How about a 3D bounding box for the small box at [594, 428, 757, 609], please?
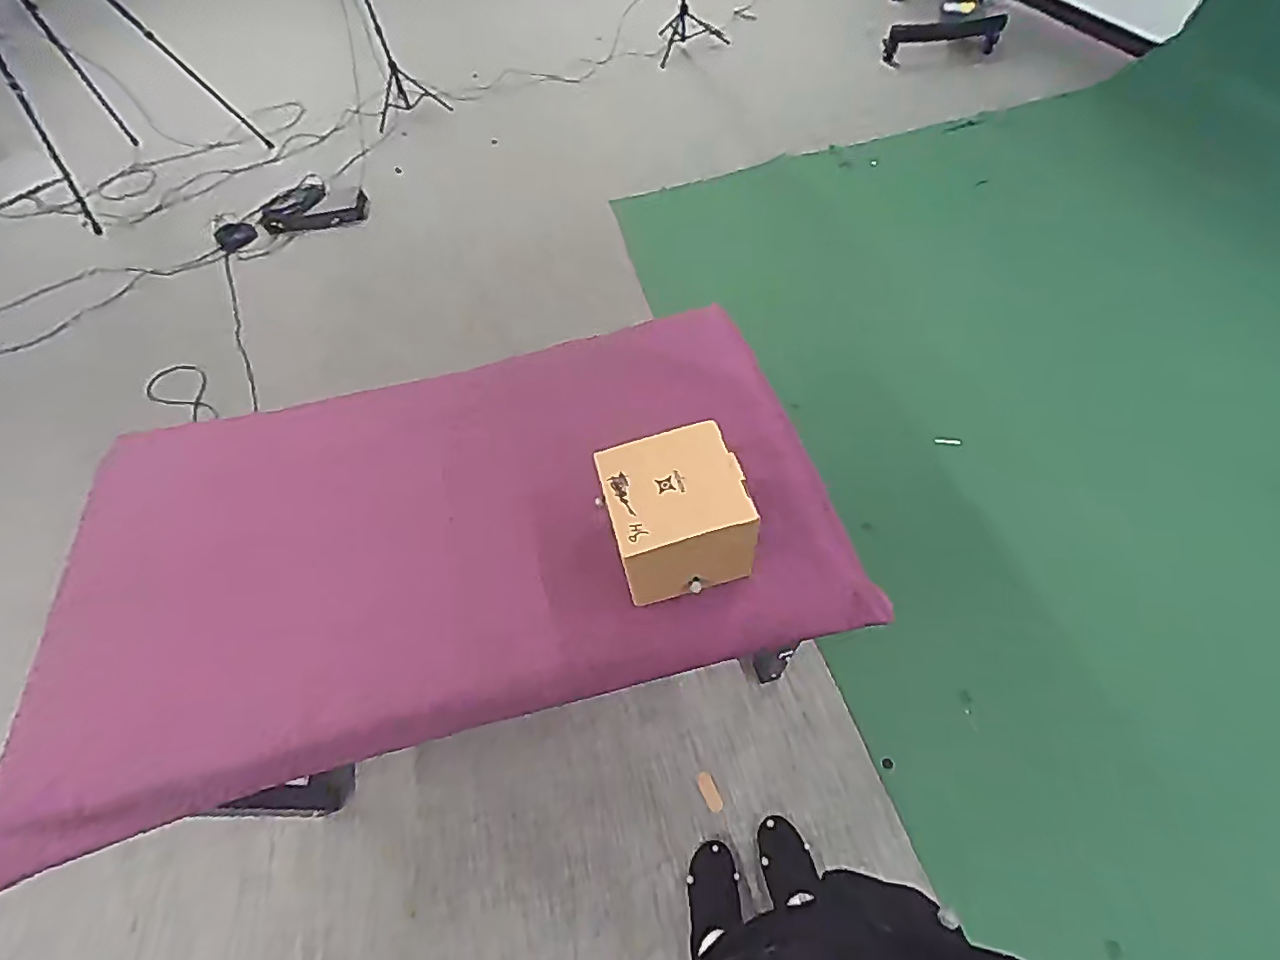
[{"bbox_3d":[0.046,0.058,0.754,0.179,0.176,0.168,-15,54,-4],"label":"small box"}]
